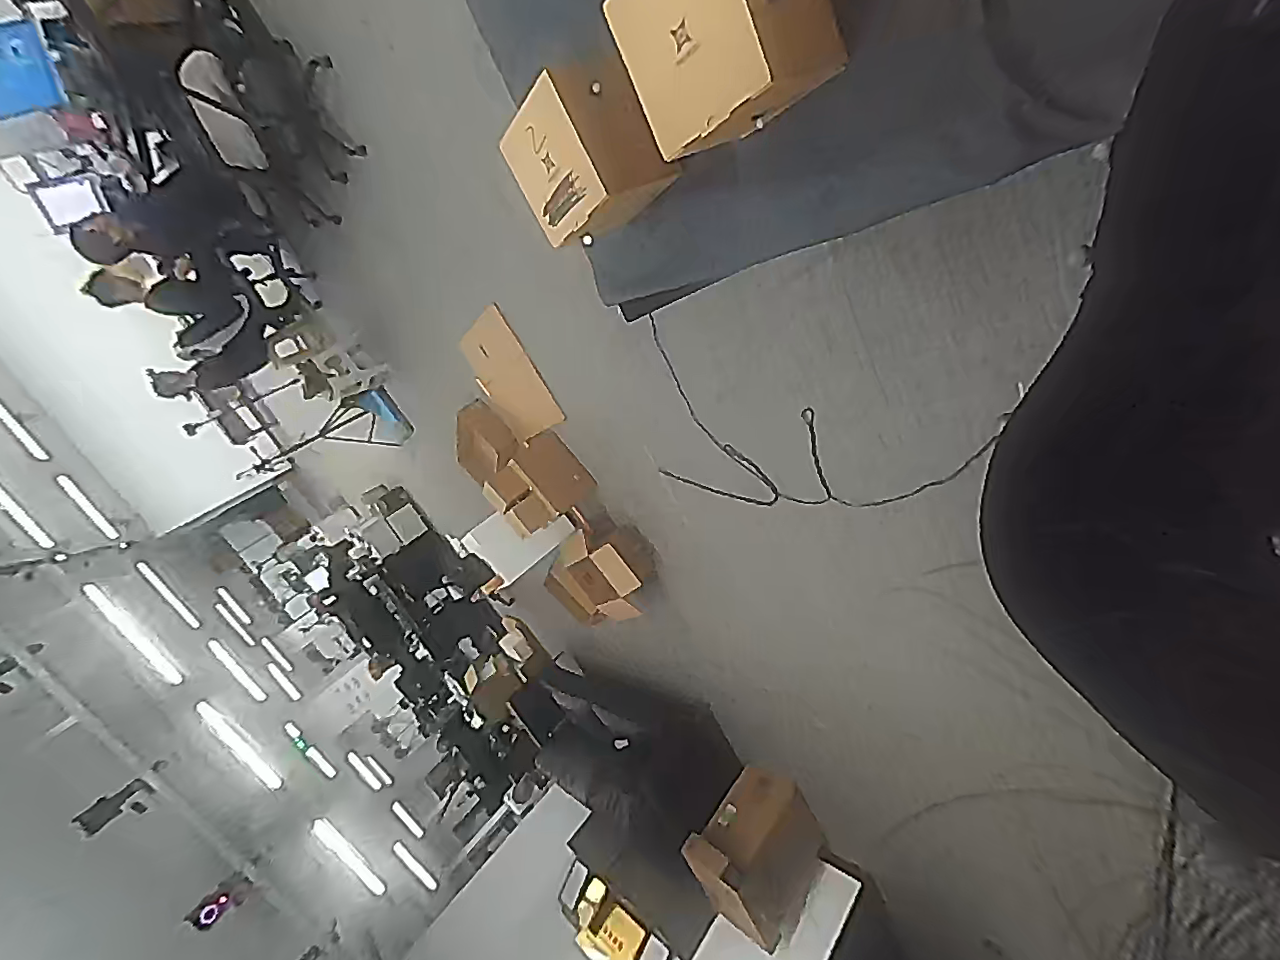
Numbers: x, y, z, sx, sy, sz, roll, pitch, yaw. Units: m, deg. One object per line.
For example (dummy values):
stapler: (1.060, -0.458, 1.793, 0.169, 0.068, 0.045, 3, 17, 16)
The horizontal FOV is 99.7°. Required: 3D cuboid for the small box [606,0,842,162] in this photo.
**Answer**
small box: (0.100, -0.504, 0.616, 0.168, 0.176, 0.179, -4, 120, 51)
